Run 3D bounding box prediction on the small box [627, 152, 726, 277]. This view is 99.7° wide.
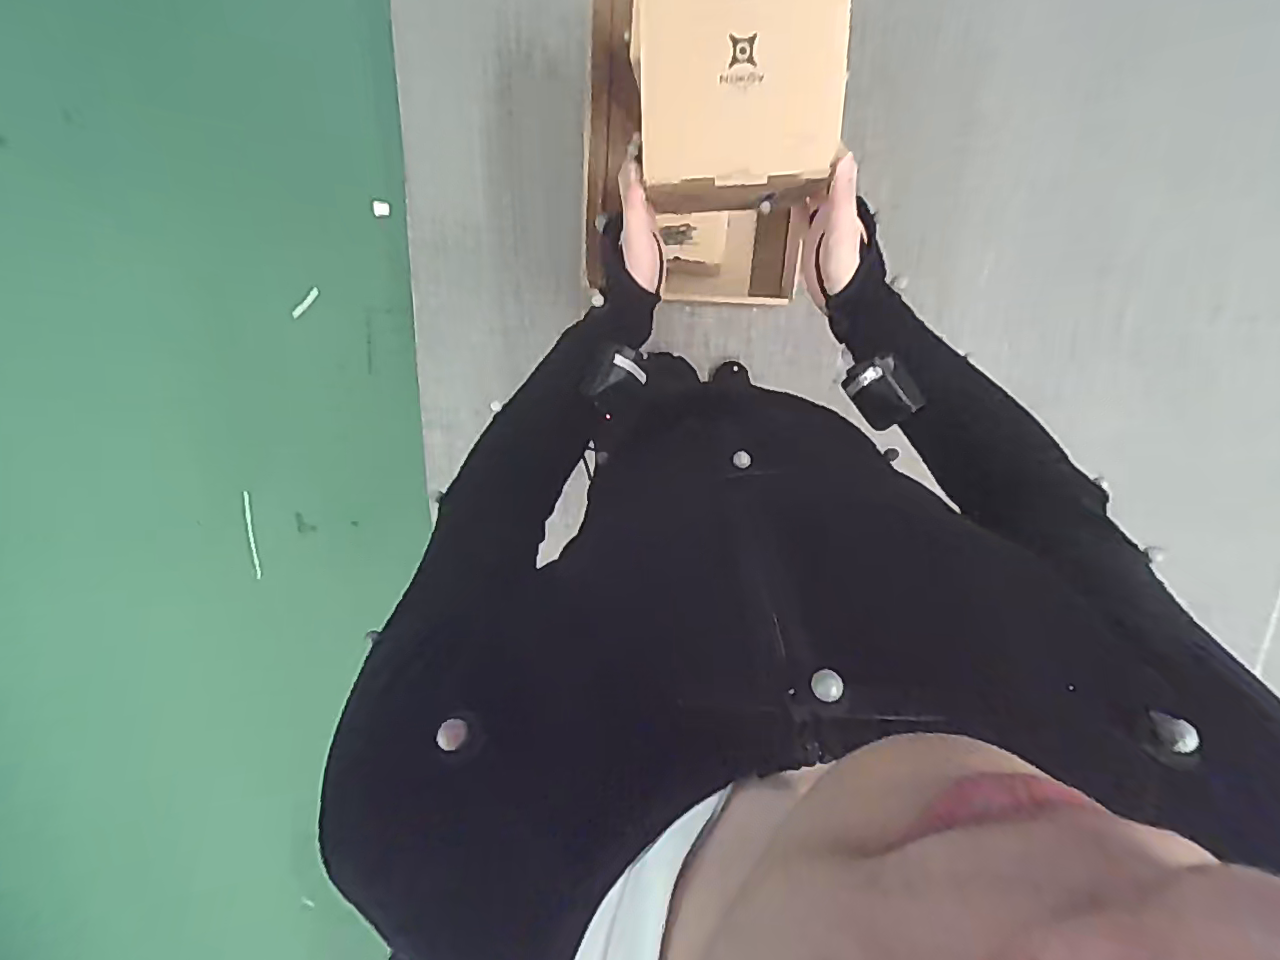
[{"bbox_3d":[0.073,-0.483,1.005,0.168,0.176,0.179,6,102,4],"label":"small box"}]

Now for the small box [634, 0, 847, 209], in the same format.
[{"bbox_3d":[0.080,-0.358,0.503,0.168,0.176,0.179,-1,108,2],"label":"small box"}]
